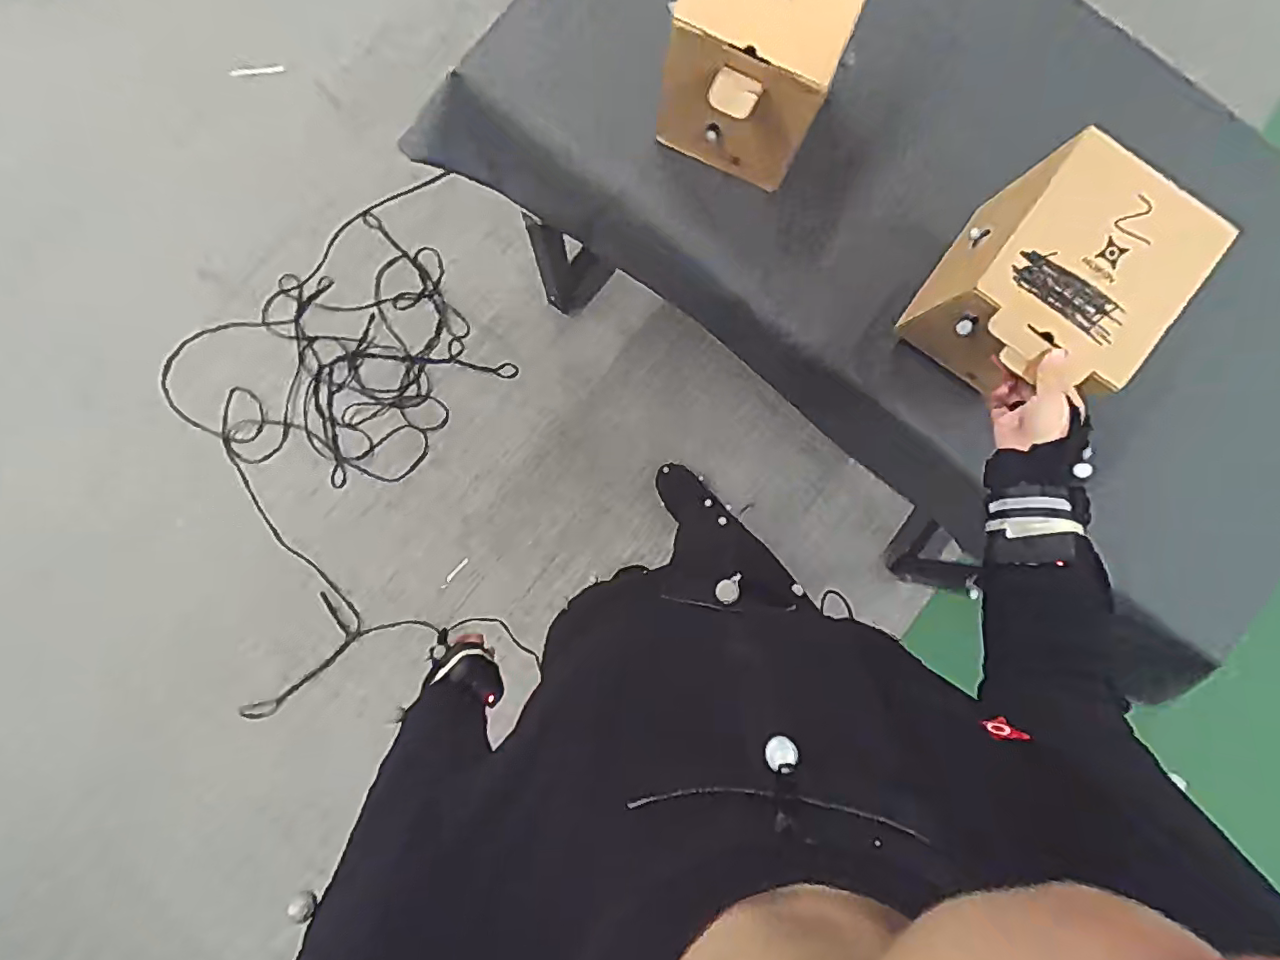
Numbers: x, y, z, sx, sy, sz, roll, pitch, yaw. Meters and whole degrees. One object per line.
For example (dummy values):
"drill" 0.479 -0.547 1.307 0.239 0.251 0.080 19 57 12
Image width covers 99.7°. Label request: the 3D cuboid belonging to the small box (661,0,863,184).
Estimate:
"small box" 0.131 -0.480 0.602 0.168 0.176 0.179 23 86 -2
